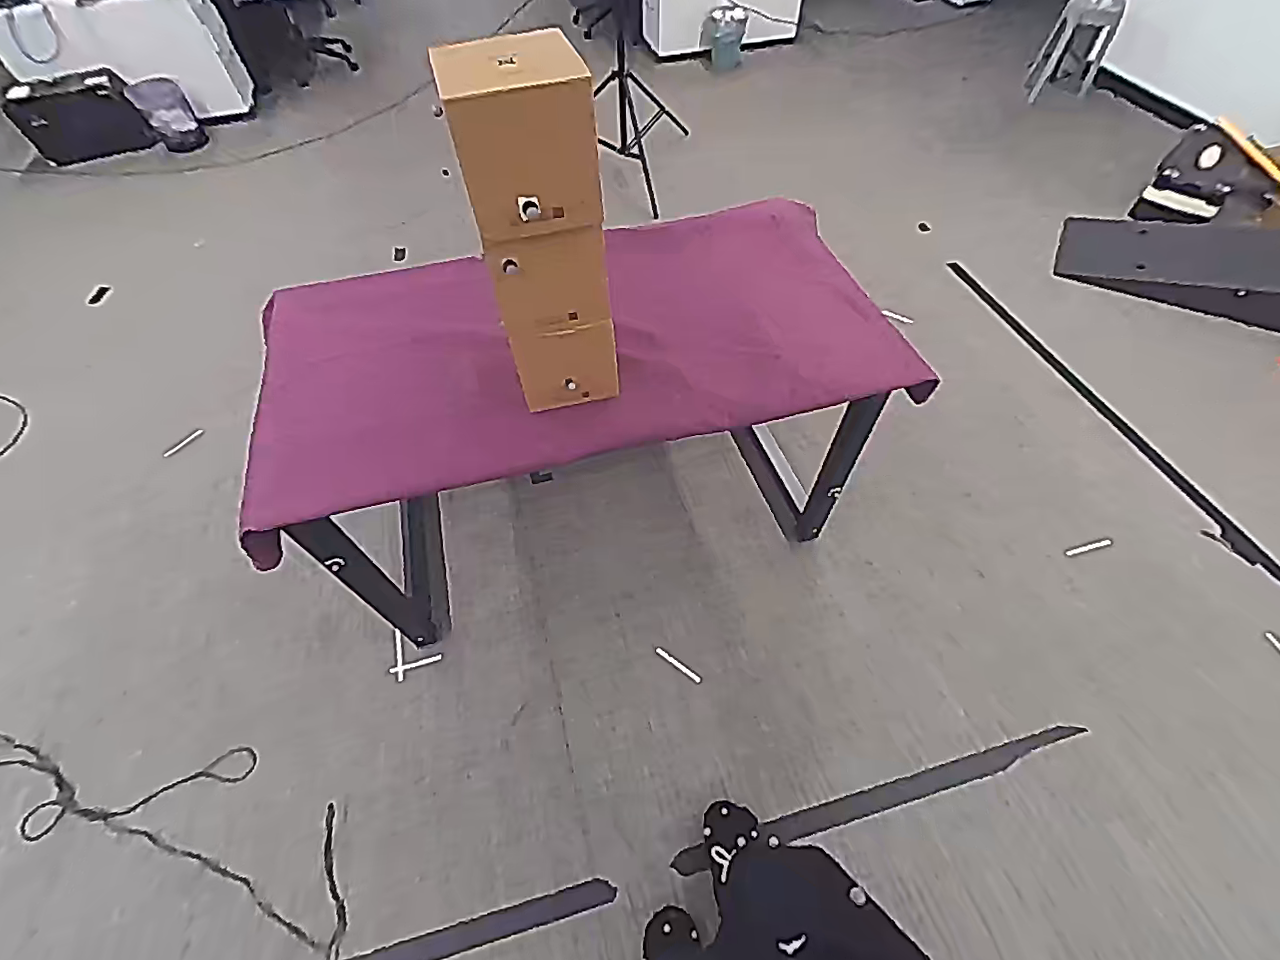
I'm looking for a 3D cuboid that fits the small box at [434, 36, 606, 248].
[{"bbox_3d":[-0.148,-0.427,0.690,0.168,0.176,0.179,-16,56,-8],"label":"small box"}]

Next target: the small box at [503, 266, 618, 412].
[{"bbox_3d":[-0.139,-0.249,0.964,0.168,0.176,0.179,-12,55,-6],"label":"small box"}]
